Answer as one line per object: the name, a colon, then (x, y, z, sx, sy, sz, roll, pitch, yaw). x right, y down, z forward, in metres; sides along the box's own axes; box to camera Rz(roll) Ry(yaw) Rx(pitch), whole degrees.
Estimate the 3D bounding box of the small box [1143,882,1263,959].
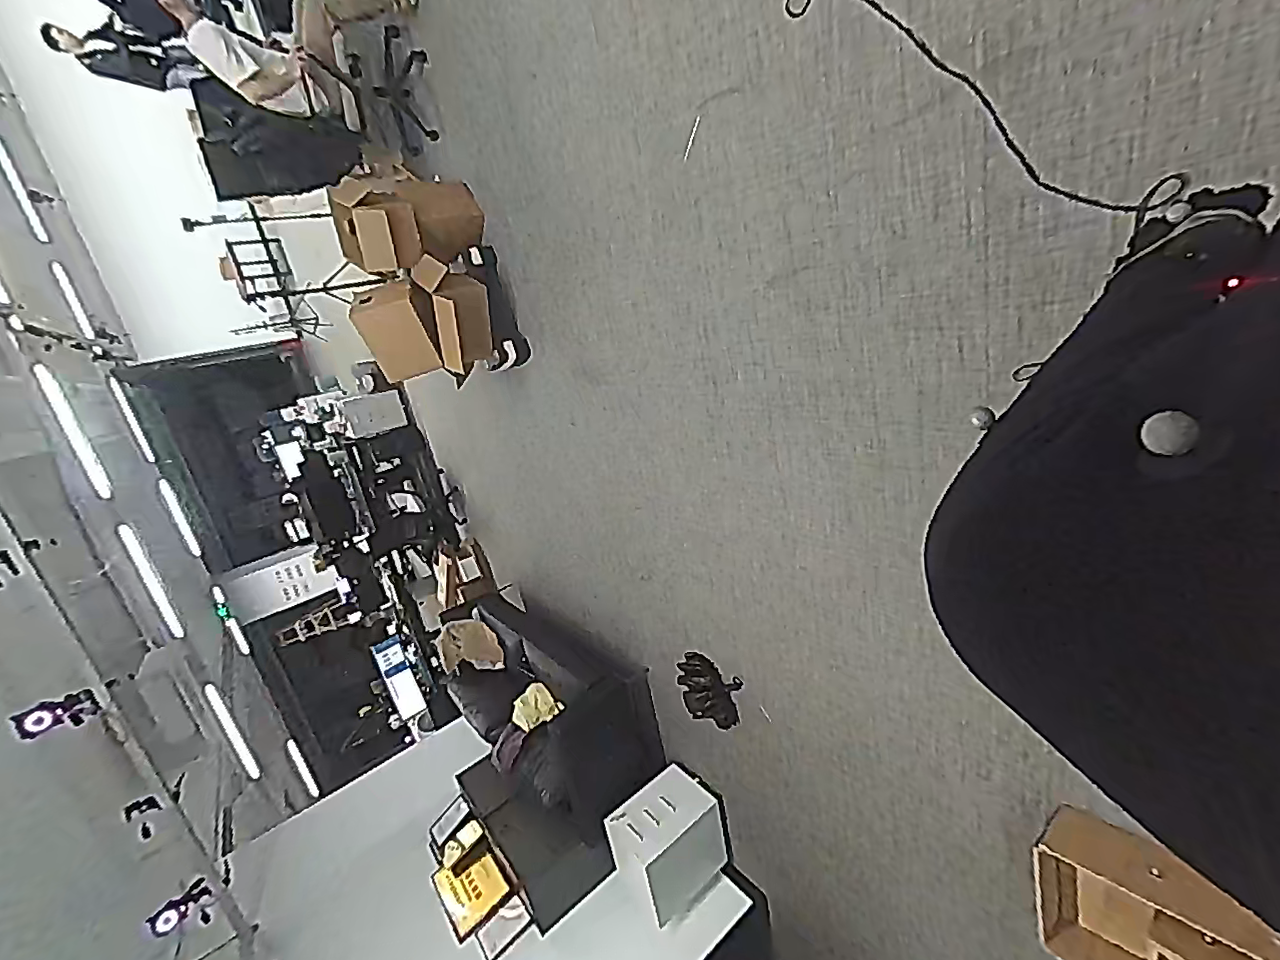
small box: (1.343, 1.117, 1.293, 0.179, 0.176, 0.168, 7, 118, 51)
